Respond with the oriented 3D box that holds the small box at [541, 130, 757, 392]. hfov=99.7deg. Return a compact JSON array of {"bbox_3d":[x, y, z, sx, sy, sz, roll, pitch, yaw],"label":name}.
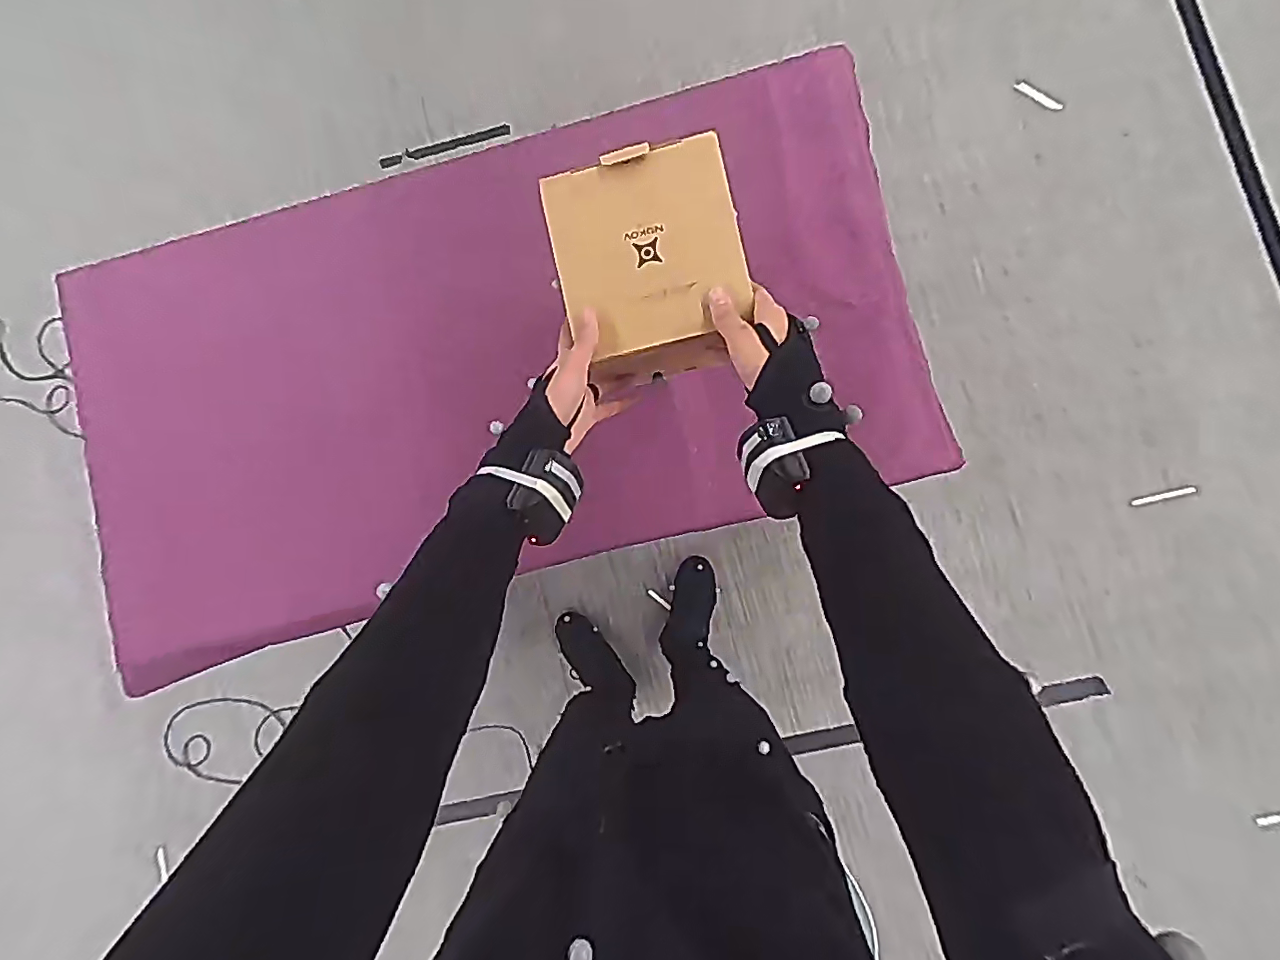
[{"bbox_3d":[0.012,-0.202,0.550,0.168,0.176,0.179,-12,89,5],"label":"small box"}]
